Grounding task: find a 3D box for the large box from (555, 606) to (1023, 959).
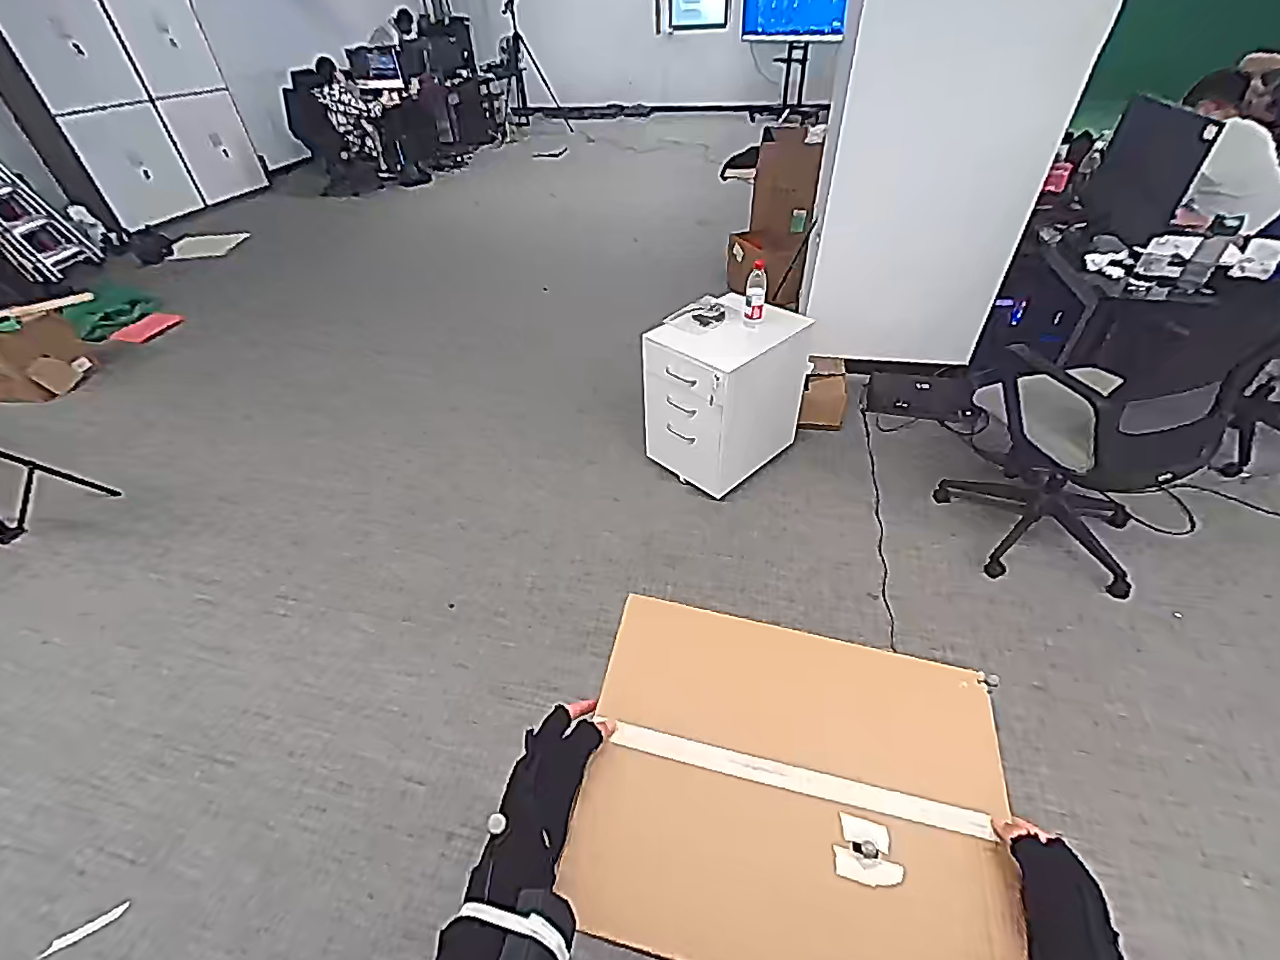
[{"bbox_3d":[0.144,0.396,0.649,0.408,0.320,0.320,11,51,8],"label":"large box"}]
